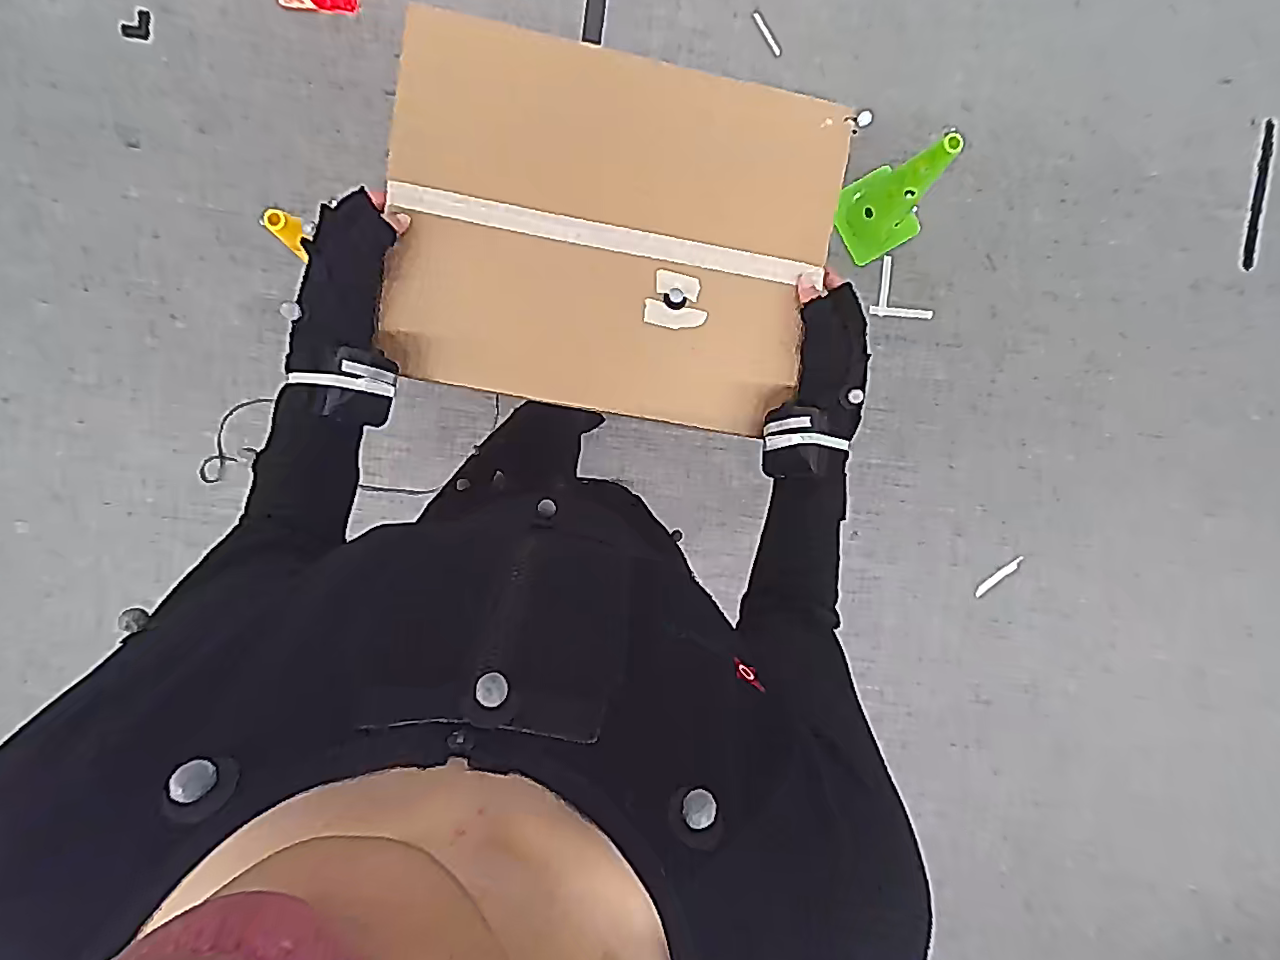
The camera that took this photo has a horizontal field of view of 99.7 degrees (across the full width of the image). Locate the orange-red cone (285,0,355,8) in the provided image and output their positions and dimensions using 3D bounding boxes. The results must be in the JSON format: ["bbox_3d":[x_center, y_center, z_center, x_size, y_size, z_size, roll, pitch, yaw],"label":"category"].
[{"bbox_3d":[-0.794,-1.267,1.173,0.198,0.360,0.199,4,96,-1],"label":"orange-red cone"}]

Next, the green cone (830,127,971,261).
[{"bbox_3d":[0.630,-0.692,1.256,0.202,0.368,0.200,-31,95,-1],"label":"green cone"}]

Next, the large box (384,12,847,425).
[{"bbox_3d":[-0.036,-0.251,0.652,0.408,0.320,0.320,9,98,-6],"label":"large box"}]
